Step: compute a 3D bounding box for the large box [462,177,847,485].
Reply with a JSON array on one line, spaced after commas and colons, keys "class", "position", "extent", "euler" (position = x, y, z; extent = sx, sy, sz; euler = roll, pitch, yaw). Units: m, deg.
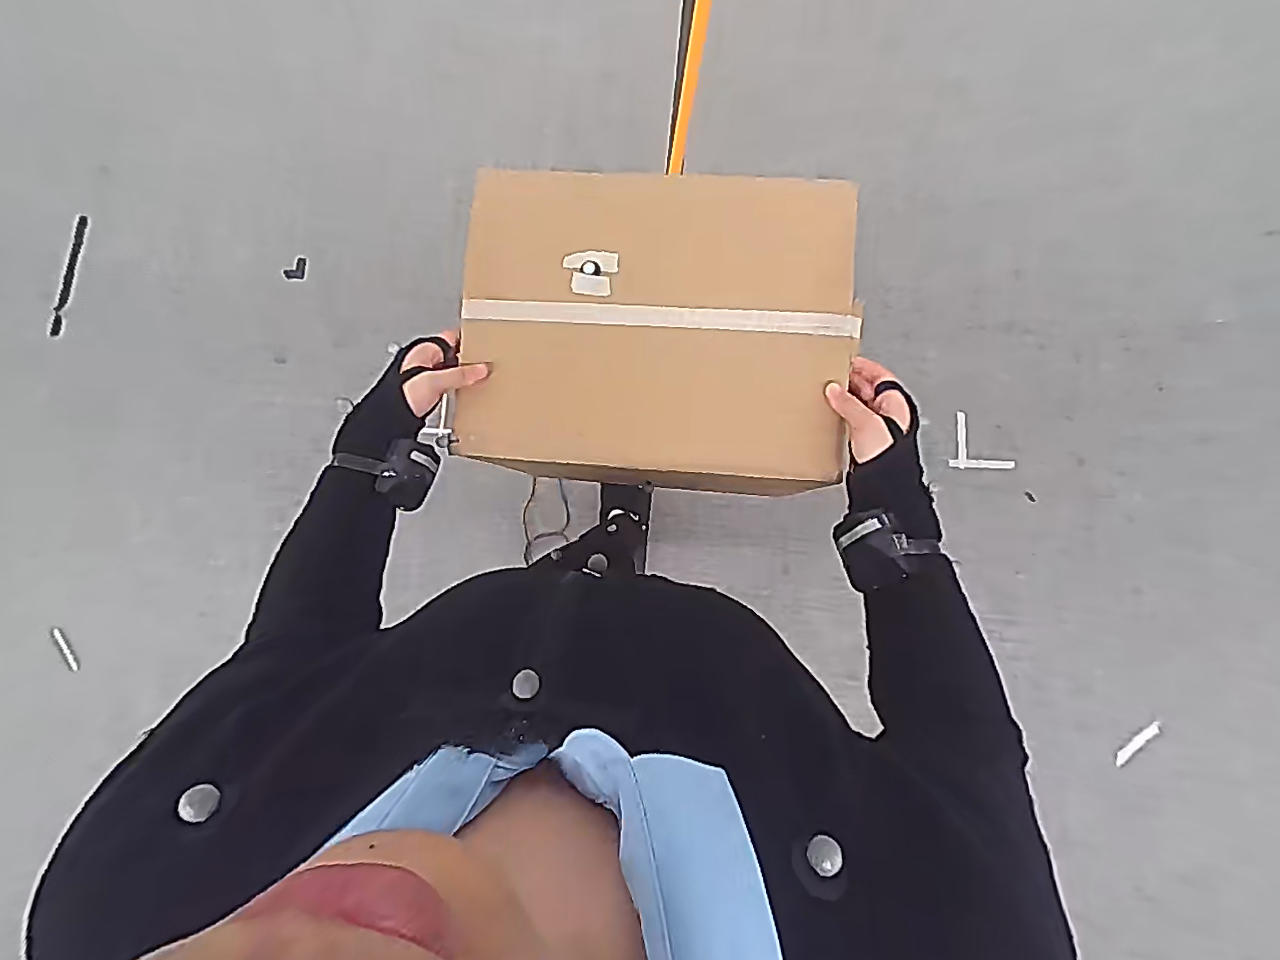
[{"class": "large box", "position": [0.029, -0.161, 0.721], "extent": [0.408, 0.320, 0.320], "euler": [4, 84, 6]}]
